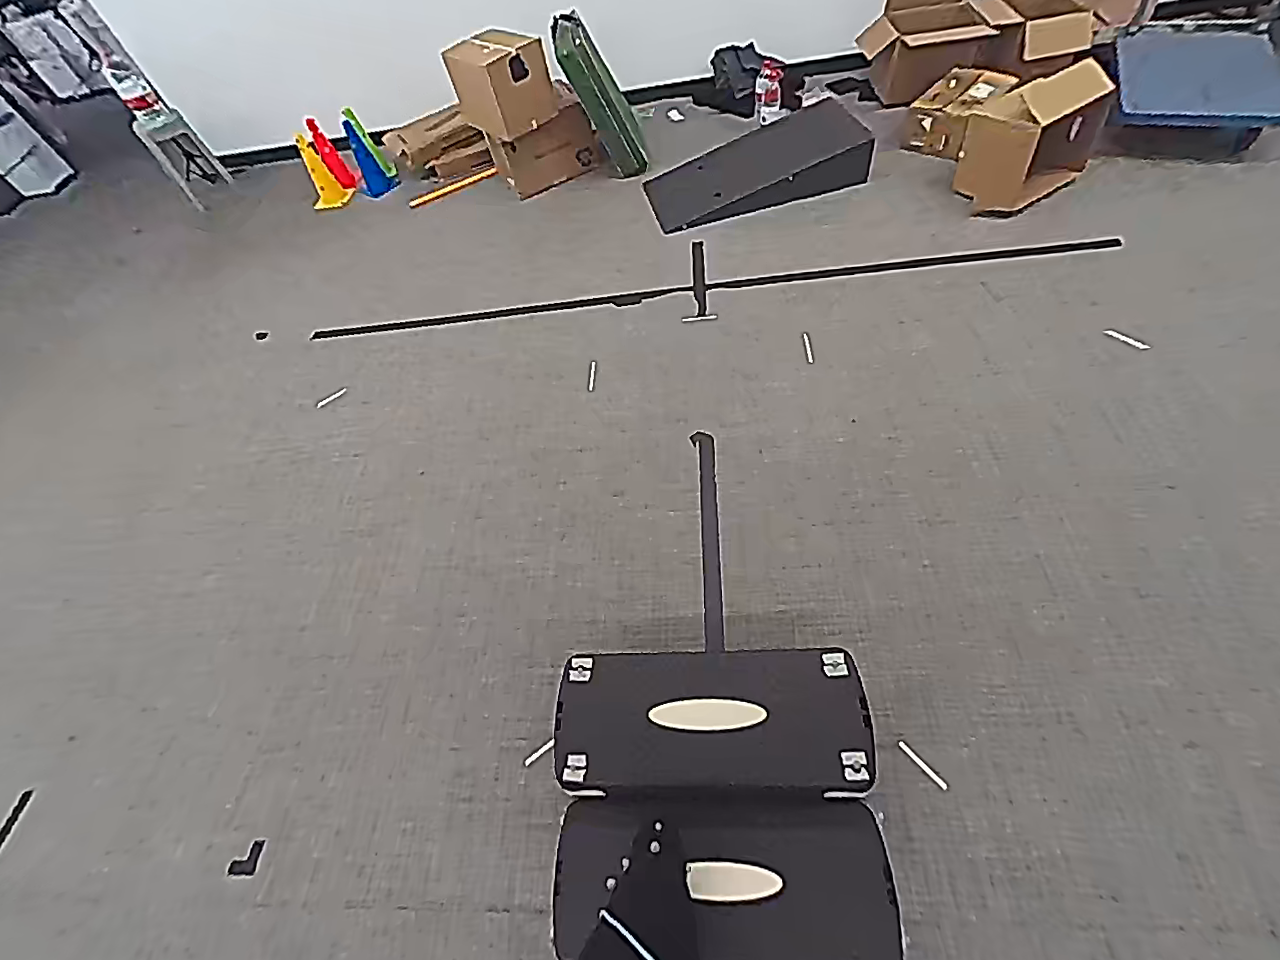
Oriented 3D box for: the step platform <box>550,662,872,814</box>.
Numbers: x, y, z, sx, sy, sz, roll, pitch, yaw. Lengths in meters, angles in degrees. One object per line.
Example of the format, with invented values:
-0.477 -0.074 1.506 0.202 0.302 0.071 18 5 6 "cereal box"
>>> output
0.143 0.575 1.206 0.684 0.204 0.286 -4 56 6 "step platform"
